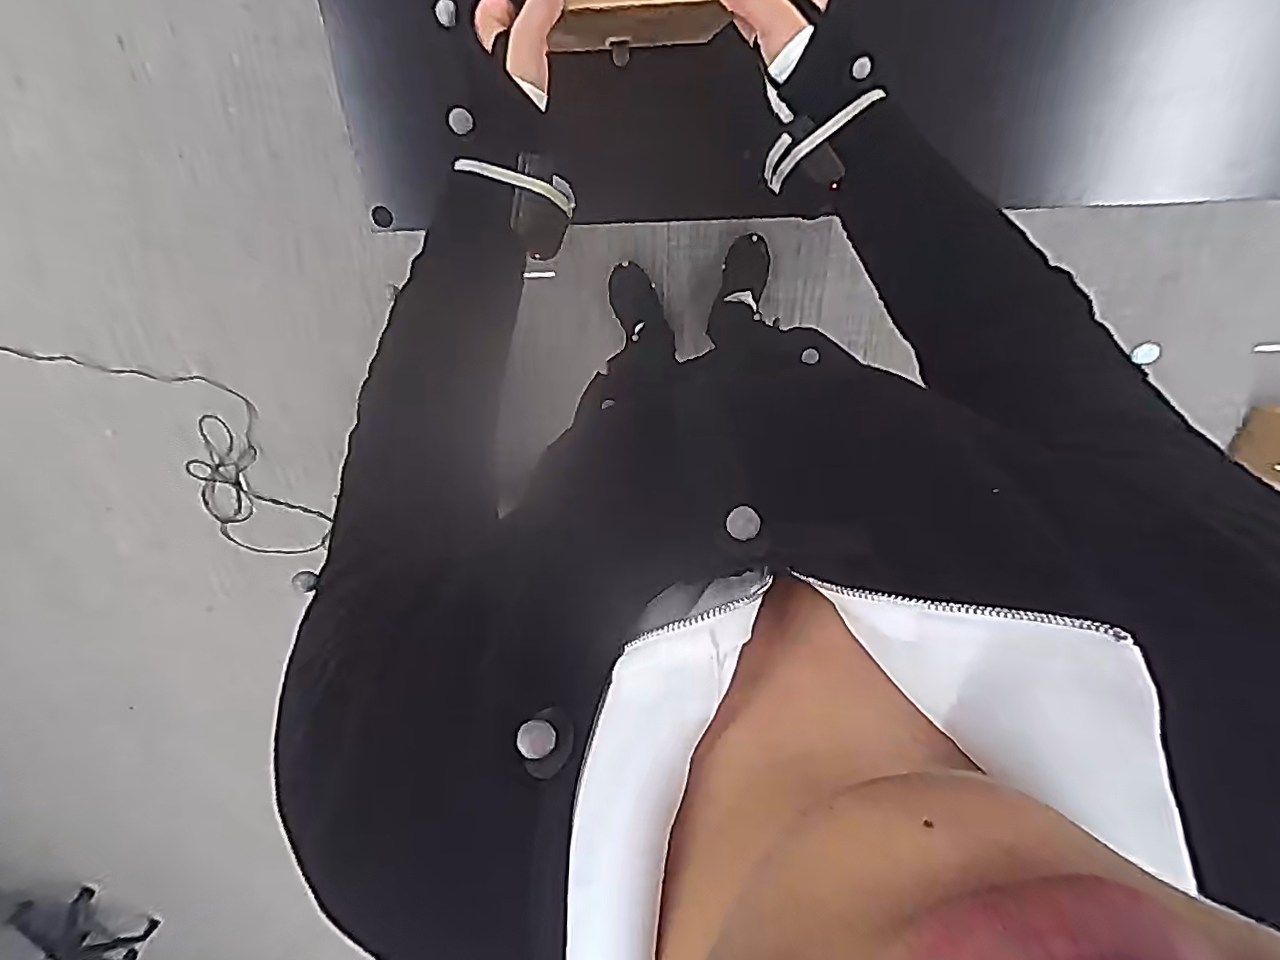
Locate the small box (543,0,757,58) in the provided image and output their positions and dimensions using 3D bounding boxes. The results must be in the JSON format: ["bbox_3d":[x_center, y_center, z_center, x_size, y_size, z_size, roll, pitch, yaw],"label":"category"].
[{"bbox_3d":[-0.005,-0.468,0.432,0.168,0.176,0.179,-7,120,-2],"label":"small box"}]

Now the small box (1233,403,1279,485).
[{"bbox_3d":[1.754,-0.095,1.431,0.168,0.176,0.179,-4,117,2],"label":"small box"}]
